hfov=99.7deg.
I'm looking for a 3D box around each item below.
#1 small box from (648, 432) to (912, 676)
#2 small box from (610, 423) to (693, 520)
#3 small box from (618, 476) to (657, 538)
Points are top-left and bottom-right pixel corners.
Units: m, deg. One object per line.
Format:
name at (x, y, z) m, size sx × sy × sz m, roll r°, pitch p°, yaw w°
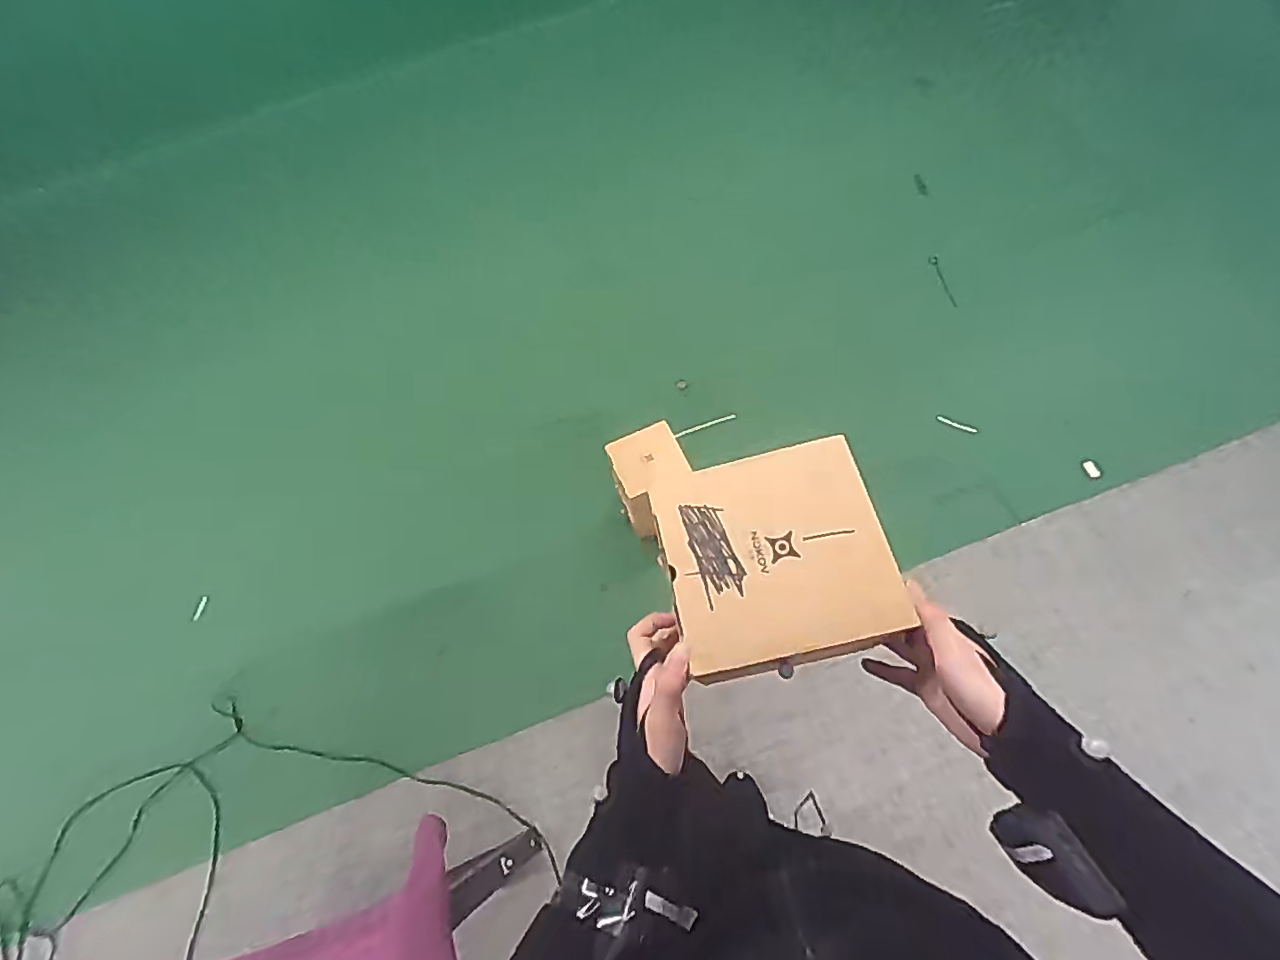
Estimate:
small box at (0.119, 0.082, 0.510) m, size 0.179 × 0.176 × 0.168 m, roll -14°, pitch 66°, yaw 4°
small box at (0.037, -0.019, 1.434) m, size 0.179 × 0.176 × 0.168 m, roll -24°, pitch 66°, yaw -4°
small box at (0.049, 0.050, 1.582) m, size 0.179 × 0.176 × 0.168 m, roll -21°, pitch 66°, yaw -3°
